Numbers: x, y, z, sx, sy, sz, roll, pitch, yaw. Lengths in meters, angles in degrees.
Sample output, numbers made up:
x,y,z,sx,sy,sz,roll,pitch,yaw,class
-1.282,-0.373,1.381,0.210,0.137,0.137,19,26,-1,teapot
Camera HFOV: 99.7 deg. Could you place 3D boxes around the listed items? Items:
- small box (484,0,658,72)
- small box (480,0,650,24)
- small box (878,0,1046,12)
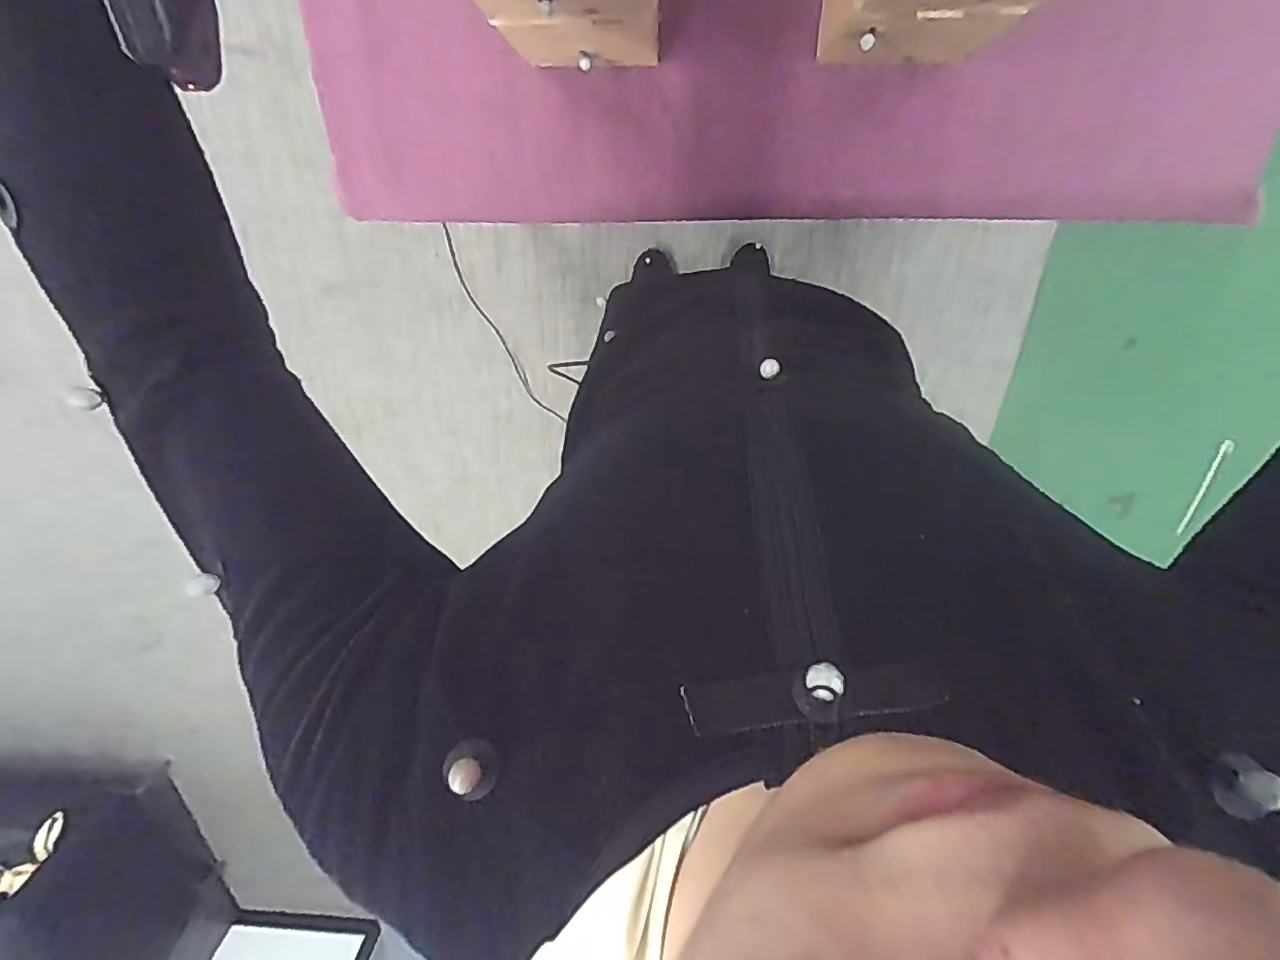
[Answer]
x,y,z,sx,sy,sz,roll,pitch,yaw,class
-0.066,-0.559,0.569,0.168,0.176,0.179,2,115,4,small box
-0.076,-0.494,0.420,0.168,0.176,0.179,0,115,4,small box
0.283,-0.480,0.400,0.168,0.176,0.179,1,114,3,small box
